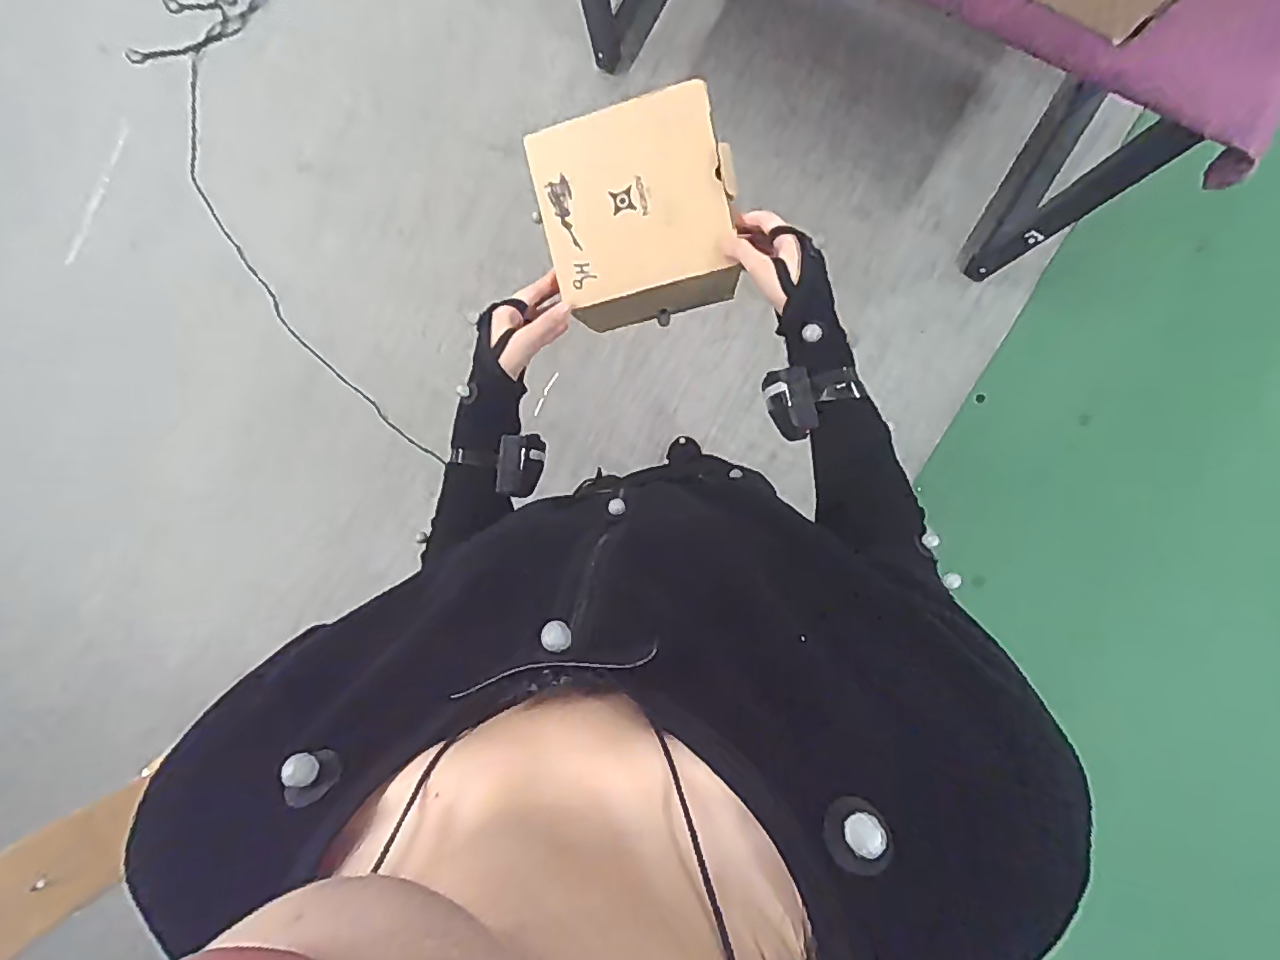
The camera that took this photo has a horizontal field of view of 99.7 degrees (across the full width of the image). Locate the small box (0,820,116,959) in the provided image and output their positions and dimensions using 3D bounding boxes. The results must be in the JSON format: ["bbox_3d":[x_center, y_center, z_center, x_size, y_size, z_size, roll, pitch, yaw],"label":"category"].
[{"bbox_3d":[-1.258,0.845,1.112,0.168,0.176,0.179,-40,88,7],"label":"small box"}]

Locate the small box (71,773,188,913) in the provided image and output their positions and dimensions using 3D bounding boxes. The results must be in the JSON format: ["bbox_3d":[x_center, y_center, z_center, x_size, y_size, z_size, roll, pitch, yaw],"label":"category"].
[{"bbox_3d":[-1.234,0.844,1.273,0.179,0.176,0.168,-41,88,7],"label":"small box"}]

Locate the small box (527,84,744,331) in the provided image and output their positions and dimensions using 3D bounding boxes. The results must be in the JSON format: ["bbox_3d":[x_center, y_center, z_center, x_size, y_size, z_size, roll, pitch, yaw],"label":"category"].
[{"bbox_3d":[0.002,-0.268,0.578,0.179,0.176,0.168,-12,95,7],"label":"small box"}]
